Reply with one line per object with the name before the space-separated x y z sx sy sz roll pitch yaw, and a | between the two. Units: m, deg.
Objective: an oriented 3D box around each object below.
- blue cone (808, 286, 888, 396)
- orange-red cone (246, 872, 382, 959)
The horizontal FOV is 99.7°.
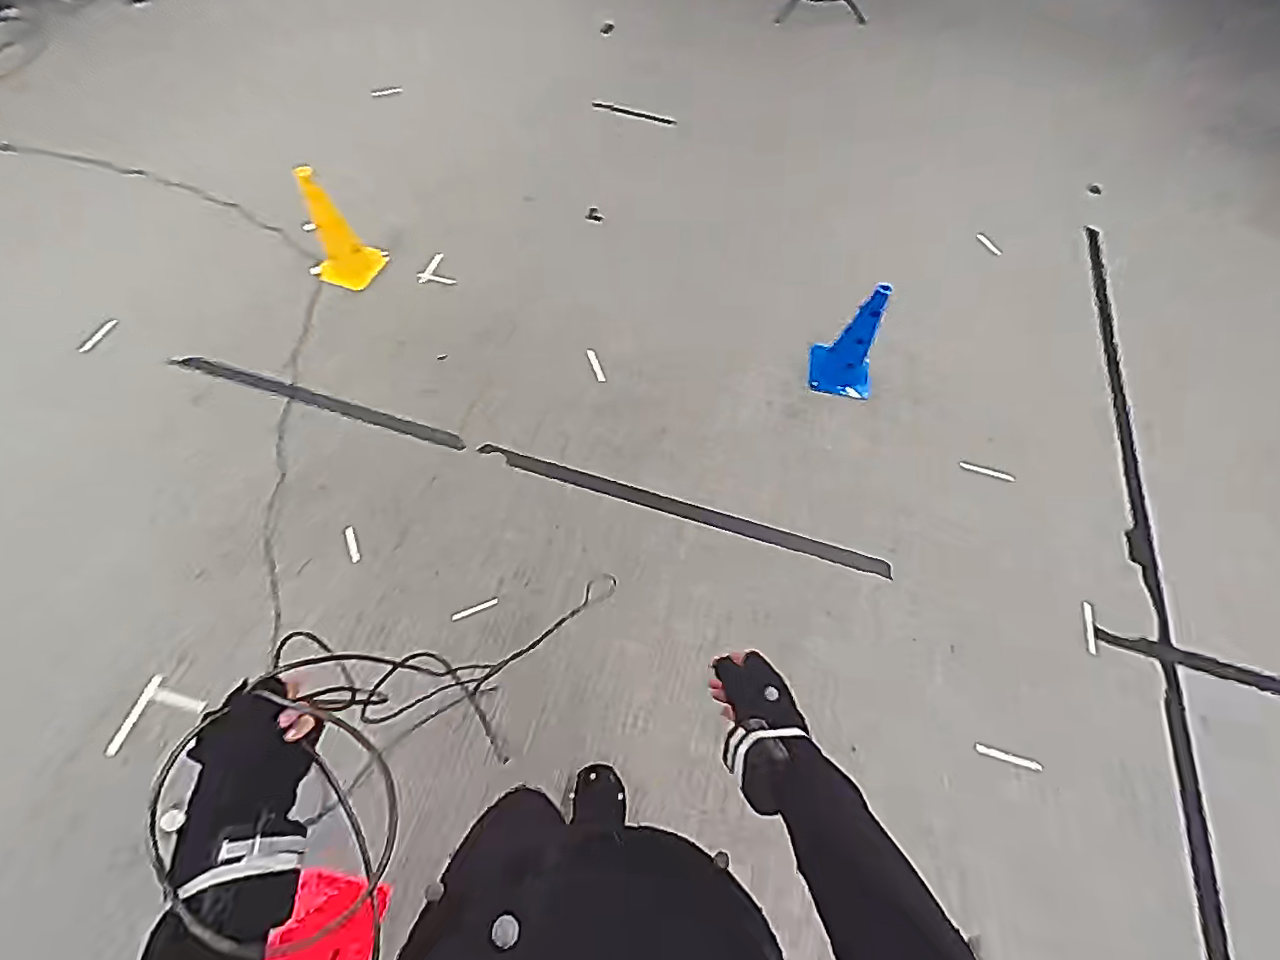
blue cone | 0.659 -0.444 1.651 0.193 0.380 0.192 11 63 3
orange-red cone | -0.630 0.840 0.927 0.199 0.360 0.198 12 63 3
